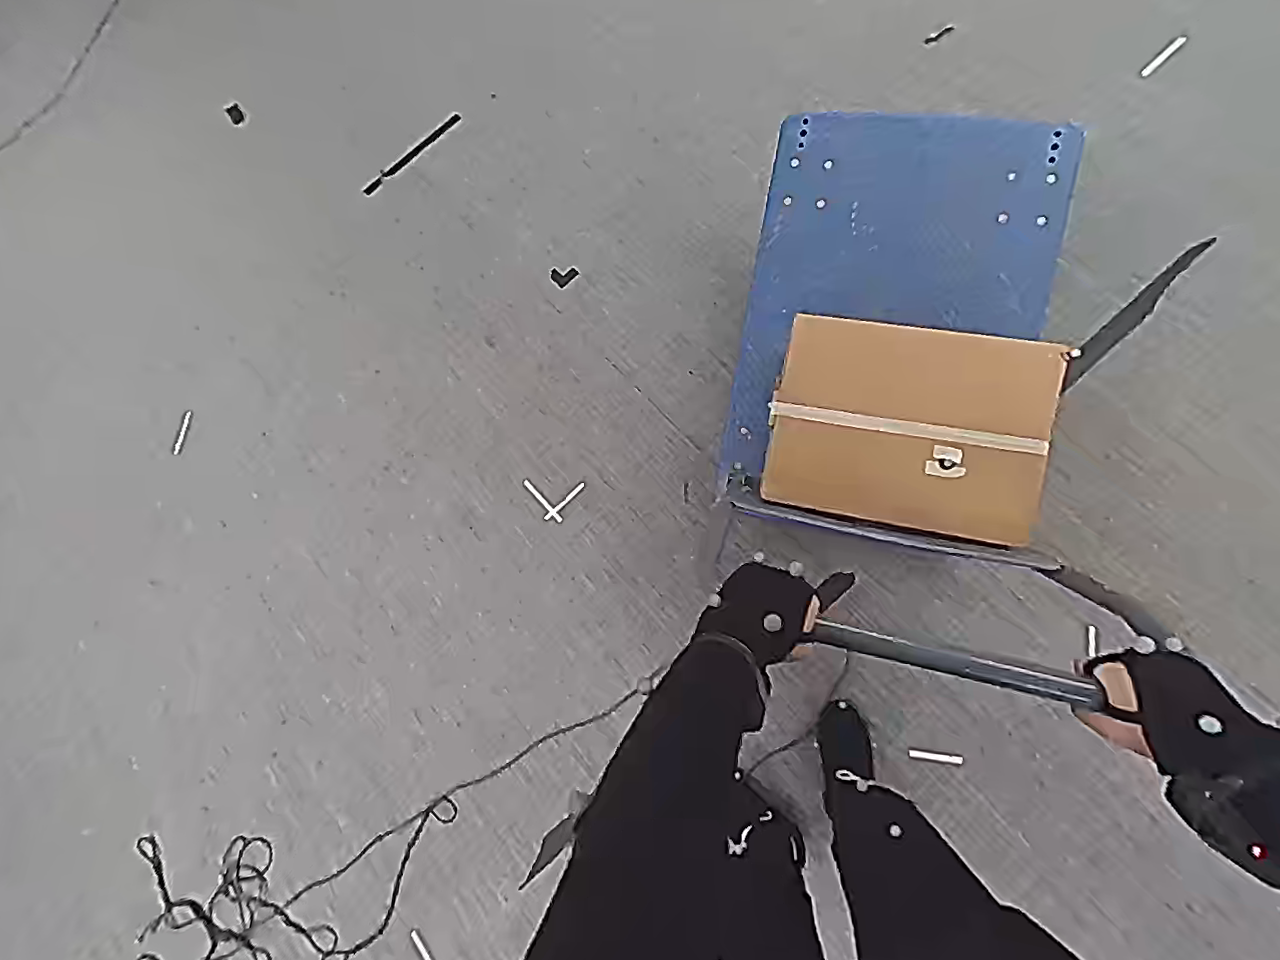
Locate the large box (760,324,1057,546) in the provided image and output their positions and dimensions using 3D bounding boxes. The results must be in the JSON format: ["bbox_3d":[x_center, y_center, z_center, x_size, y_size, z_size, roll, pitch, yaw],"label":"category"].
[{"bbox_3d":[0.452,-0.084,1.019,0.408,0.320,0.320,11,95,11],"label":"large box"}]
